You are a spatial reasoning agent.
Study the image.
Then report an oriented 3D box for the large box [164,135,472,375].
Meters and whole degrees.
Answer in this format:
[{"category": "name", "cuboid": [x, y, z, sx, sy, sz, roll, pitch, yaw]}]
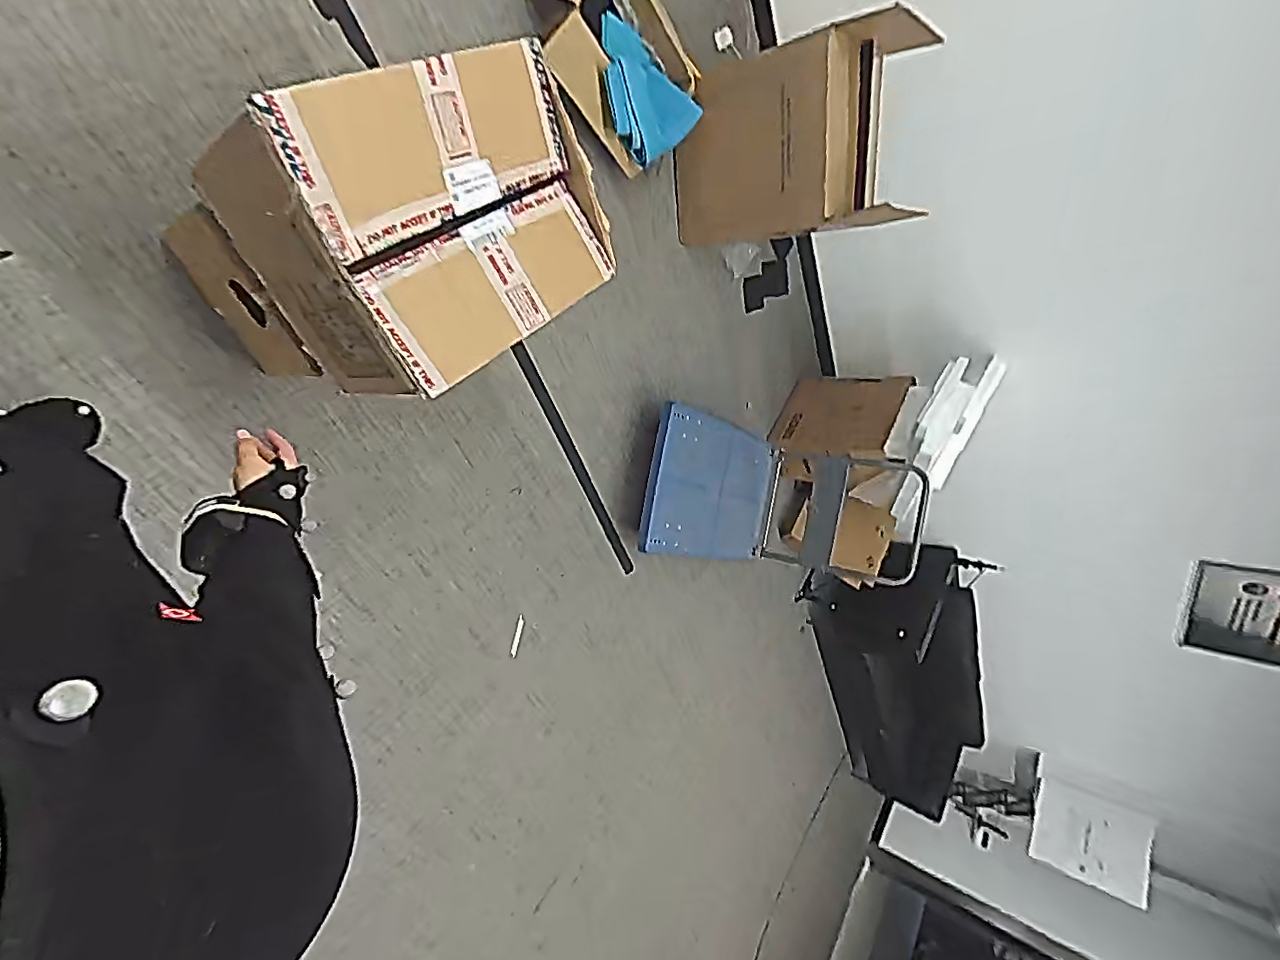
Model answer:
[{"category": "large box", "cuboid": [-0.648, -0.456, 1.129, 0.408, 0.320, 0.320, -47, 129, -32]}]
